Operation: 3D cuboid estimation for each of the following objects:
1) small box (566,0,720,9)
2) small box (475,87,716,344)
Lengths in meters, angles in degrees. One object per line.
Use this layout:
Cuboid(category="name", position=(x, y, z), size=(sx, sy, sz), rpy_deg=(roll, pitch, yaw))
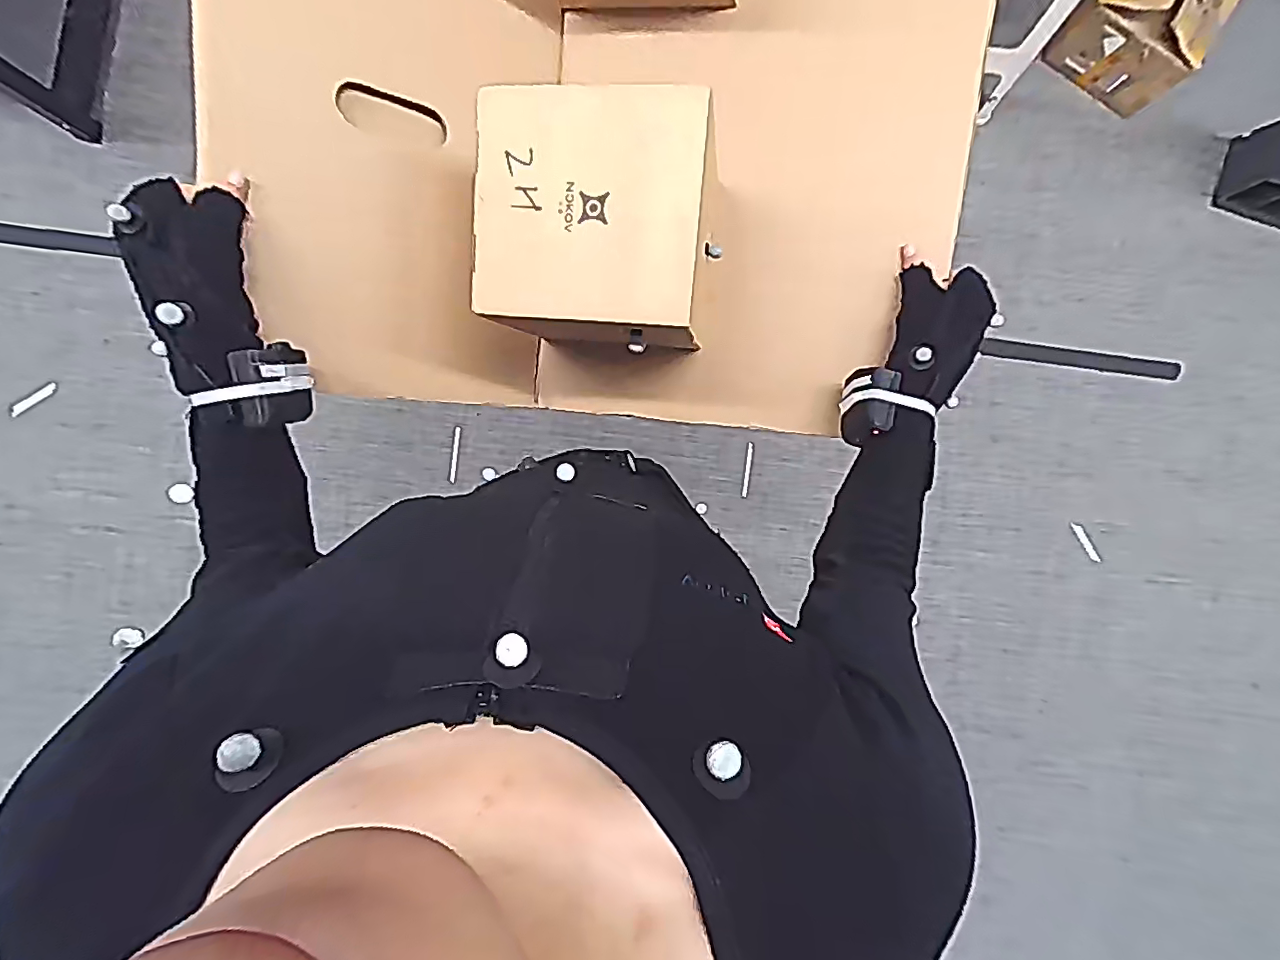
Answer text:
Cuboid(category="small box", position=(-0.001, -0.531, 0.440), size=(0.179, 0.176, 0.168), rpy_deg=(7, 99, 8))
Cuboid(category="small box", position=(-0.027, -0.219, 0.489), size=(0.179, 0.176, 0.168), rpy_deg=(7, 99, 9))
